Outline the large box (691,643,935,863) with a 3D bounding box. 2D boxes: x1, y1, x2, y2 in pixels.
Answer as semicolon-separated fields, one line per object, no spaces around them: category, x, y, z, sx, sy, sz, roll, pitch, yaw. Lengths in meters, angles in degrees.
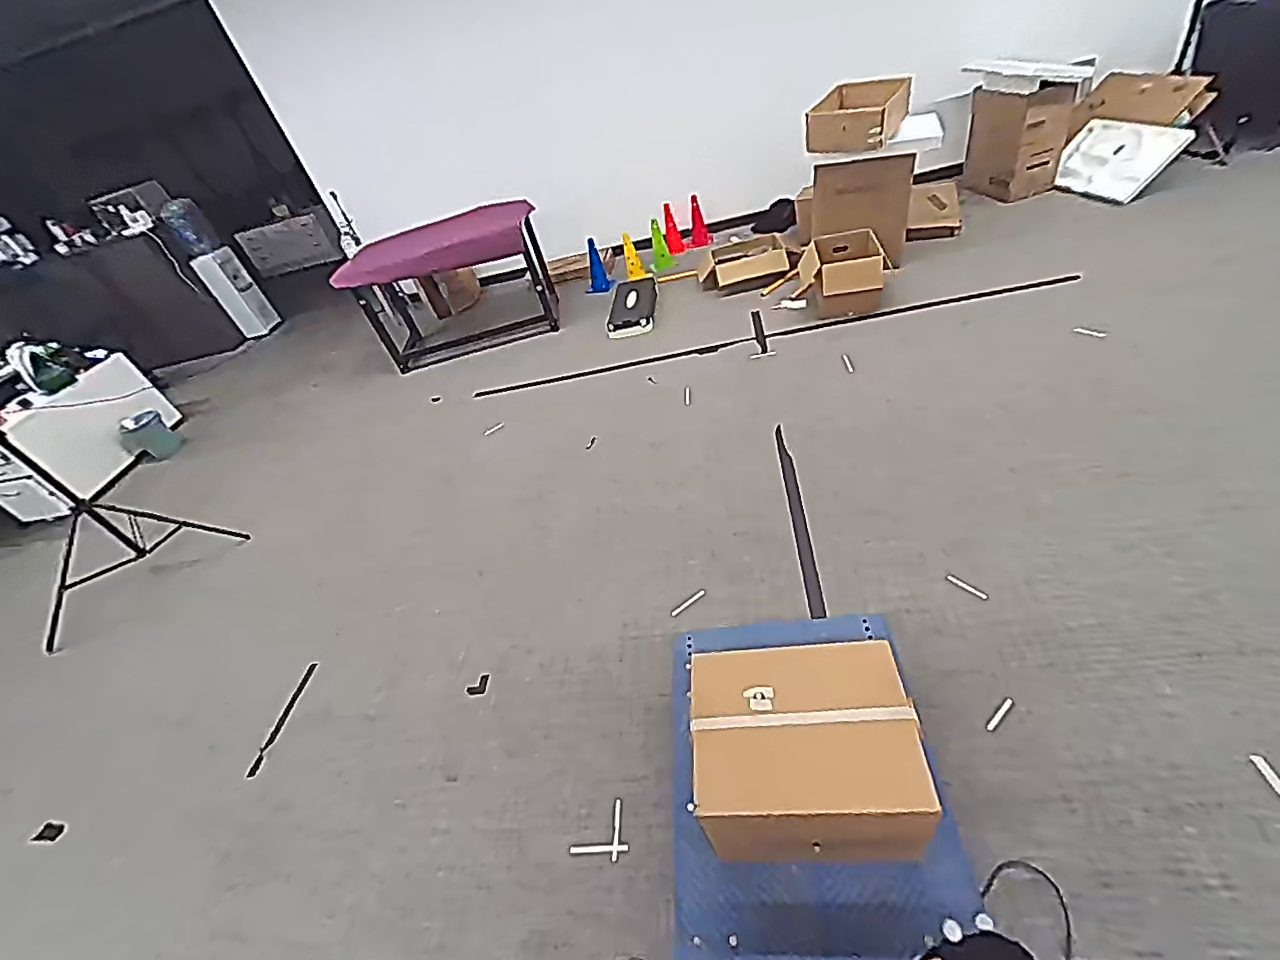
large box;0.337;0.576;1.127;0.408;0.320;0.320;-10;40;12
